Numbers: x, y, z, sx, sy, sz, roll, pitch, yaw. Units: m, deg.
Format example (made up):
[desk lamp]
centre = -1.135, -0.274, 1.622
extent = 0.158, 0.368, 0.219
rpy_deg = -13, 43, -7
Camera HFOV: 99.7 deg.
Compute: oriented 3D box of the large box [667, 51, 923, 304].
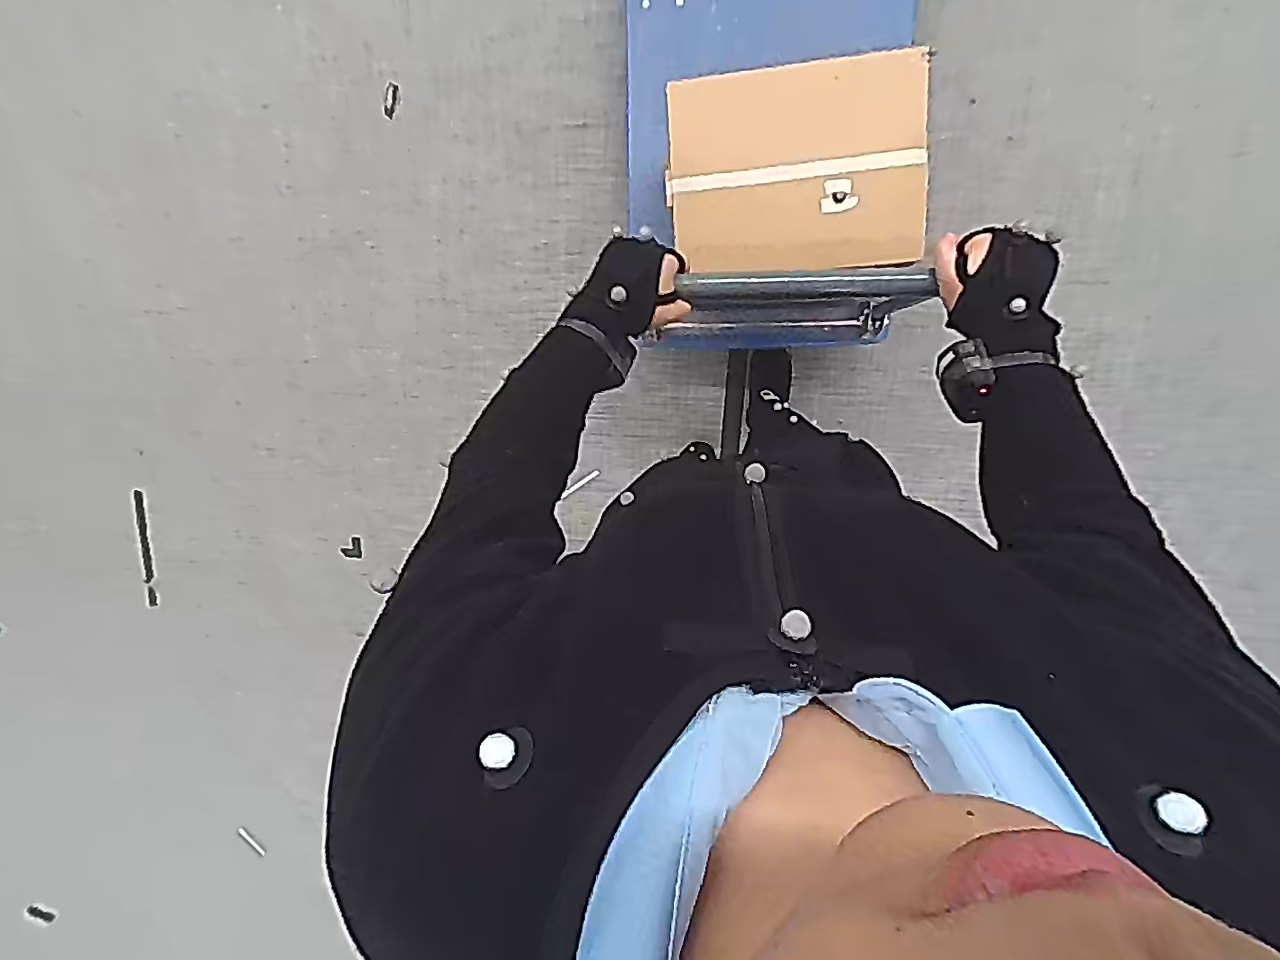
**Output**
[large box]
centre = 0.267, -0.532, 1.031
extent = 0.408, 0.320, 0.320
rpy_deg = -3, 102, 6
